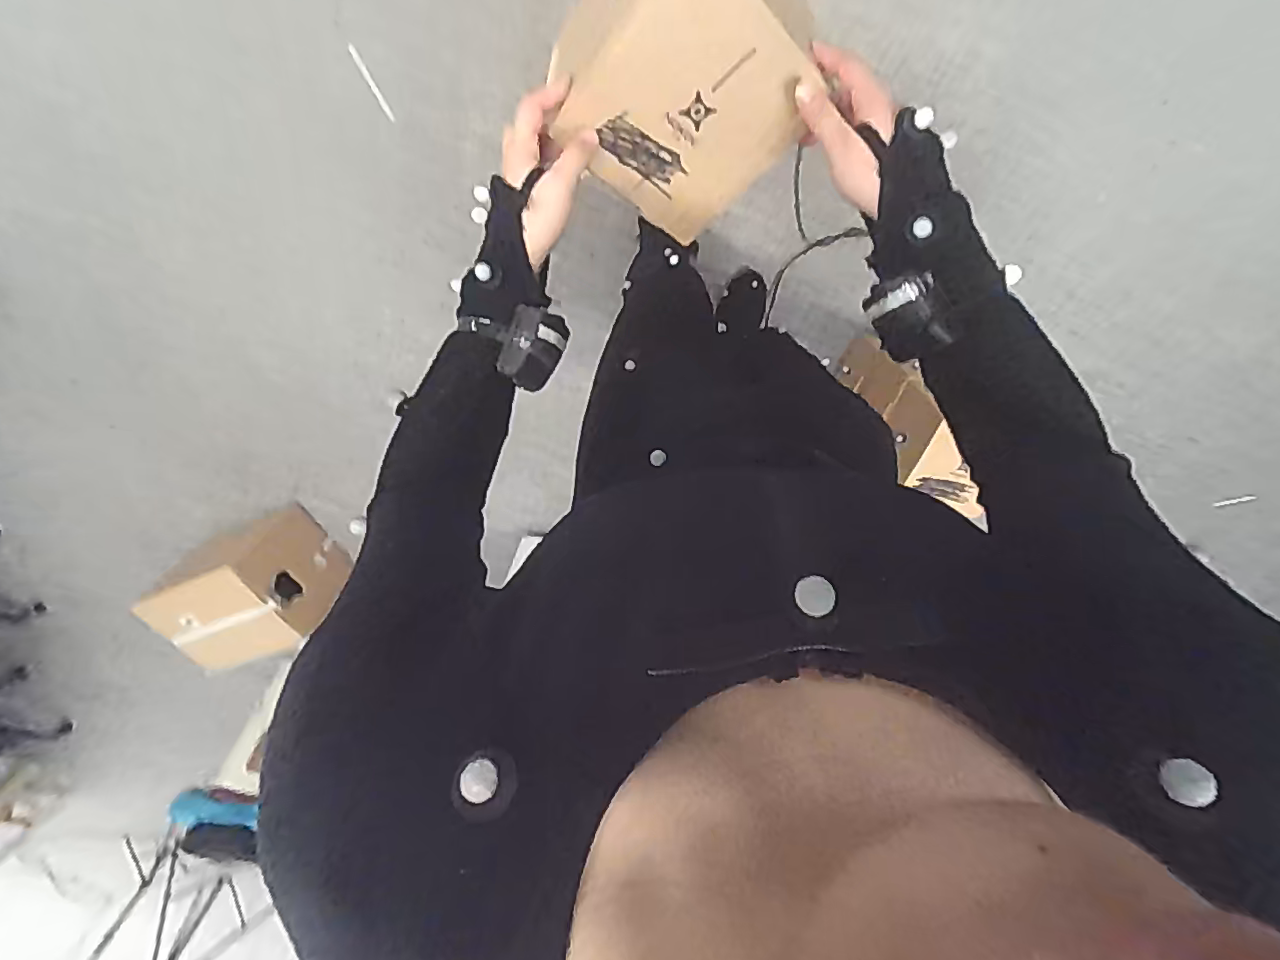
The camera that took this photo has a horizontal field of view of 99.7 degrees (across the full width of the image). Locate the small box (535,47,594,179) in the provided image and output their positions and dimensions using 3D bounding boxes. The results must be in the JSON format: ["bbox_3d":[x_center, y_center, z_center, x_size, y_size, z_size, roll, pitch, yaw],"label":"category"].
[{"bbox_3d":[-0.092,-0.698,1.056,0.168,0.176,0.179,17,121,-6],"label":"small box"}]

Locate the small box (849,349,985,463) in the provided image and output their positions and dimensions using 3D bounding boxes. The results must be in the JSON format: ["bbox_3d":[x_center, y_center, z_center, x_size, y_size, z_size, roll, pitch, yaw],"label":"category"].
[{"bbox_3d":[0.578,-0.165,1.160,0.179,0.176,0.168,14,123,-7],"label":"small box"}]

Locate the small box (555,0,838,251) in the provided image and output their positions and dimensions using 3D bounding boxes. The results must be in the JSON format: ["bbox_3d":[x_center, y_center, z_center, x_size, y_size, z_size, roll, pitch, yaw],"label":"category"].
[{"bbox_3d":[0.046,-0.356,0.480,0.168,0.176,0.179,22,145,-36],"label":"small box"}]

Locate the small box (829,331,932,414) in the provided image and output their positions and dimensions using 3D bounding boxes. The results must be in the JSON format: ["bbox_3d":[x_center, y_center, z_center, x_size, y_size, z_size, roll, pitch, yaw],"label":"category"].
[{"bbox_3d":[0.584,-0.242,1.303,0.179,0.176,0.168,18,122,-7],"label":"small box"}]
